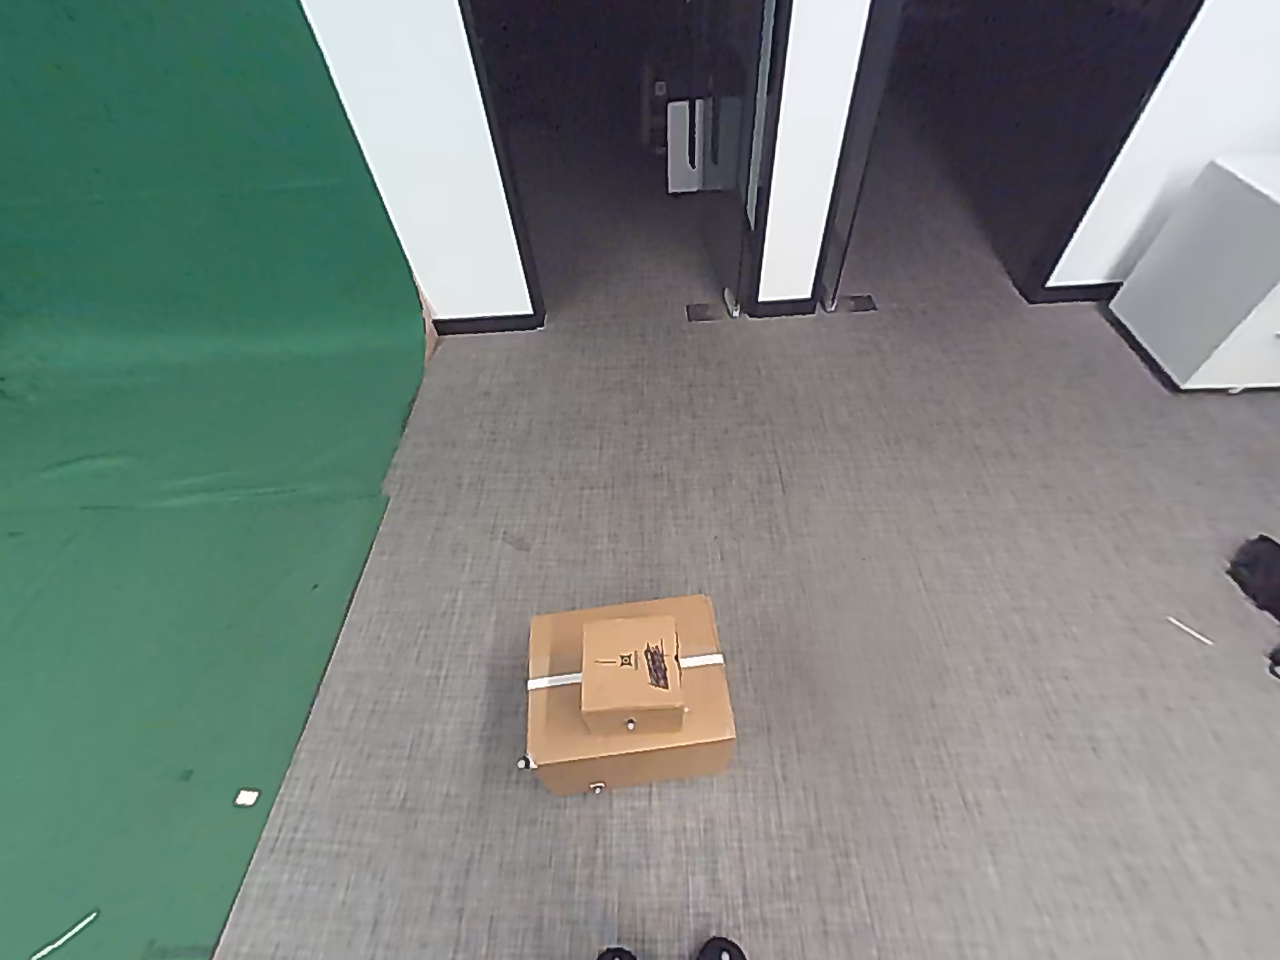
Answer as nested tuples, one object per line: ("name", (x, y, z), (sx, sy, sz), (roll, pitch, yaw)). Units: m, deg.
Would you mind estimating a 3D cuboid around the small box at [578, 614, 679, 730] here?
("small box", (-0.018, 0.373, 1.041), (0.179, 0.176, 0.168), (-4, 51, 2))
